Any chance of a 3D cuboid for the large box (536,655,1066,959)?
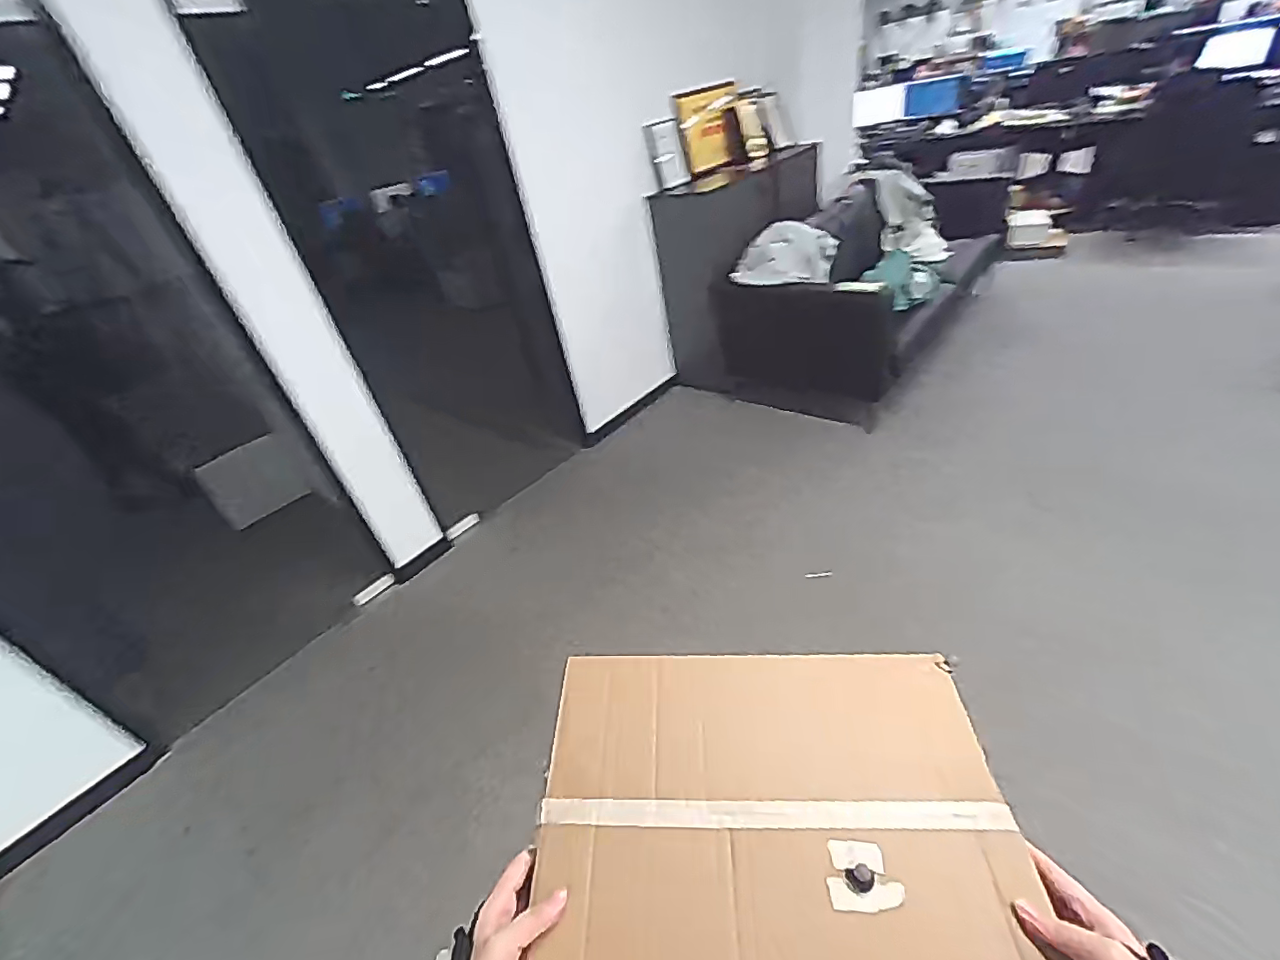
[{"bbox_3d":[0.129,0.409,0.581,0.408,0.320,0.320,-1,41,5],"label":"large box"}]
